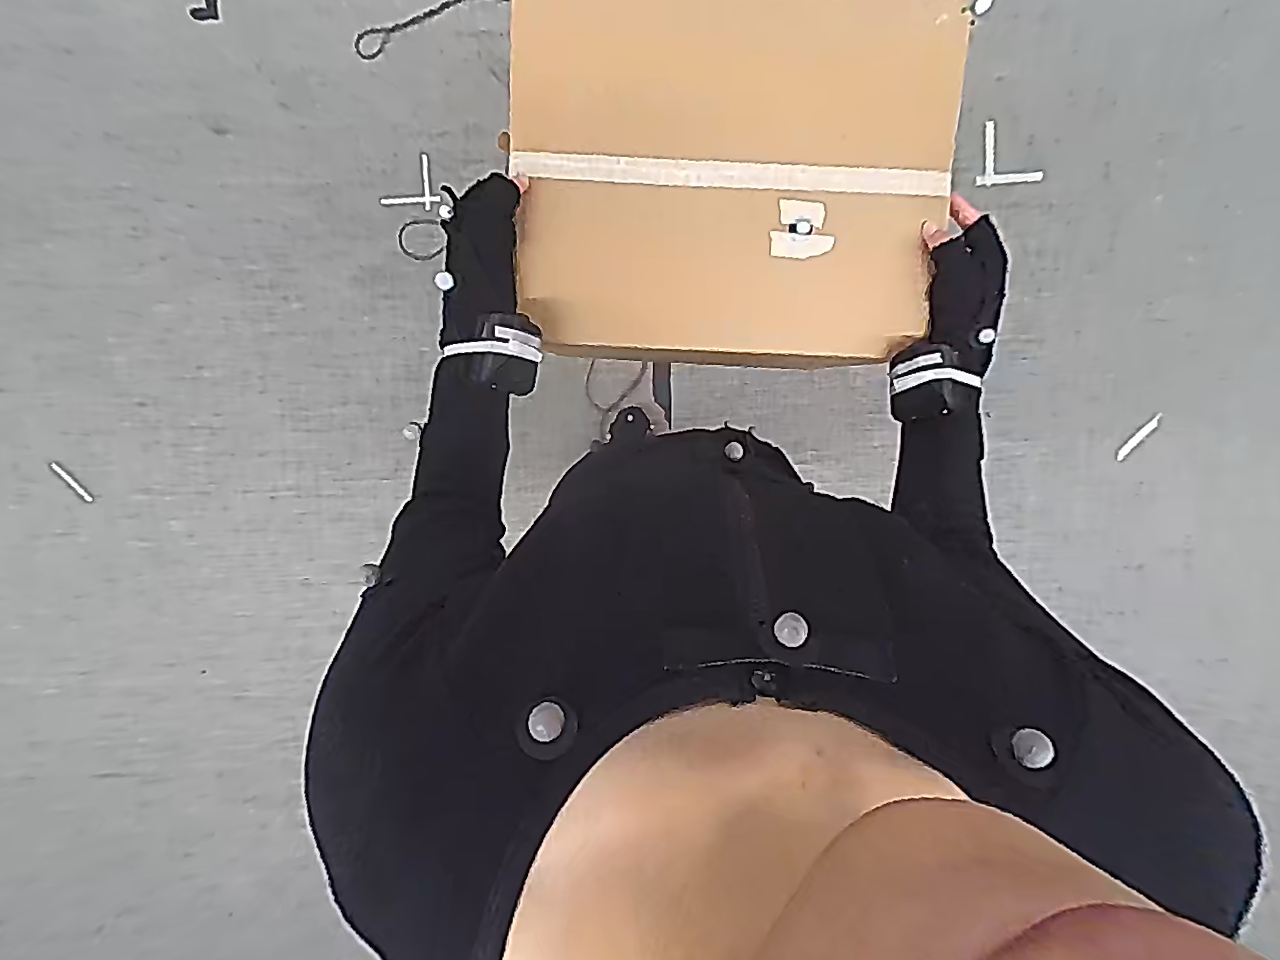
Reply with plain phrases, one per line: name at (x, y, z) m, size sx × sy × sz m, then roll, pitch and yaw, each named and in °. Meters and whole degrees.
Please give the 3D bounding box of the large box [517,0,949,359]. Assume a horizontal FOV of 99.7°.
large box at (0.079, -0.316, 0.662) m, size 0.408 × 0.320 × 0.320 m, roll 2°, pitch 101°, yaw -2°
